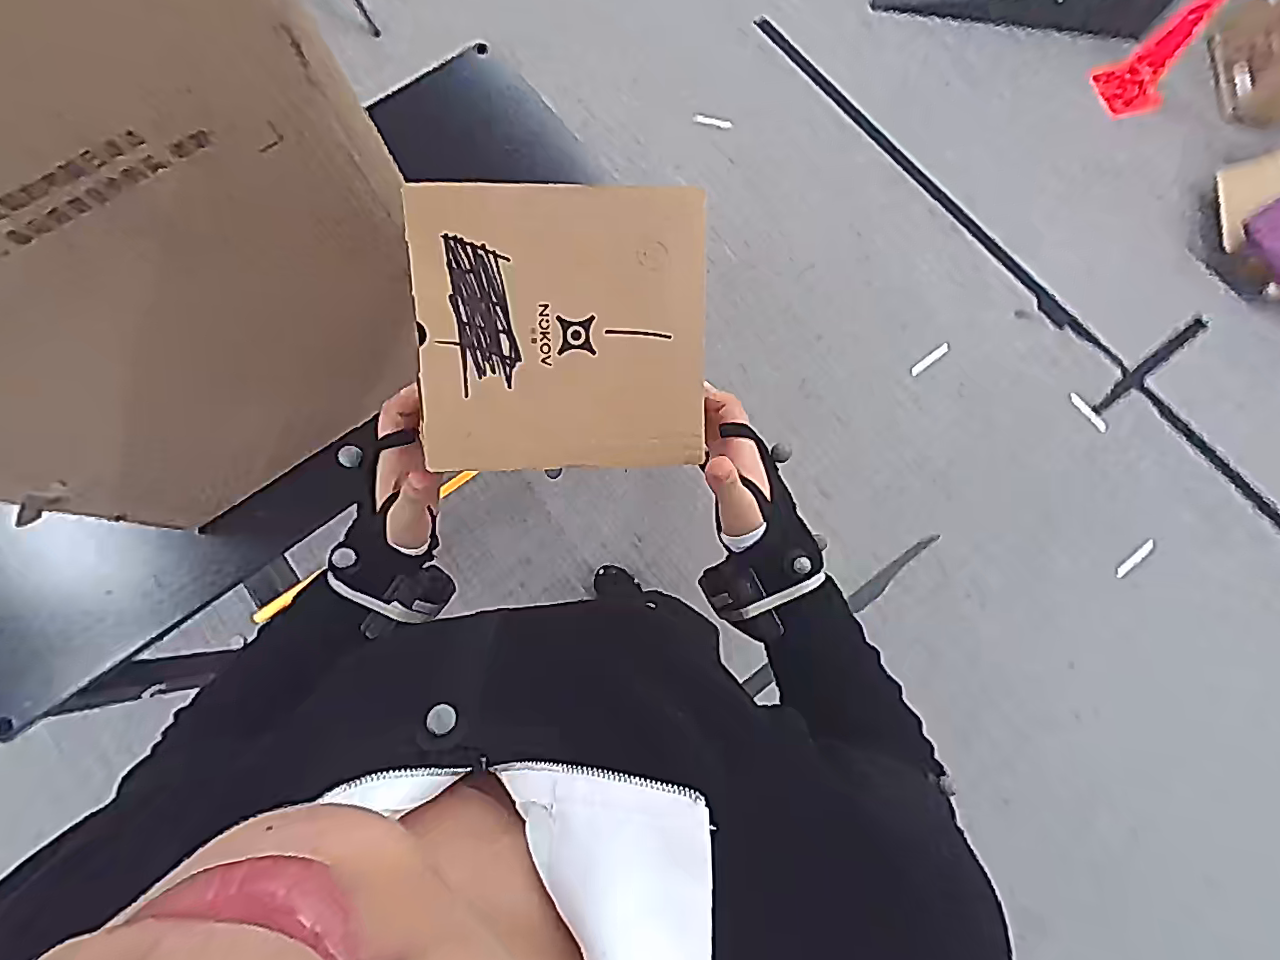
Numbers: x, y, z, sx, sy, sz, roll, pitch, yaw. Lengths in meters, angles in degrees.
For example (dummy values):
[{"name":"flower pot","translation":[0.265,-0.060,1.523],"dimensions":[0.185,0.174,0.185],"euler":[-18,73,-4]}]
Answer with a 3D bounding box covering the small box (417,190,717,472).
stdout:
[{"name":"small box","translation":[-0.047,-0.099,0.405],"dimensions":[0.179,0.176,0.168],"euler":[-1,101,-4]}]
